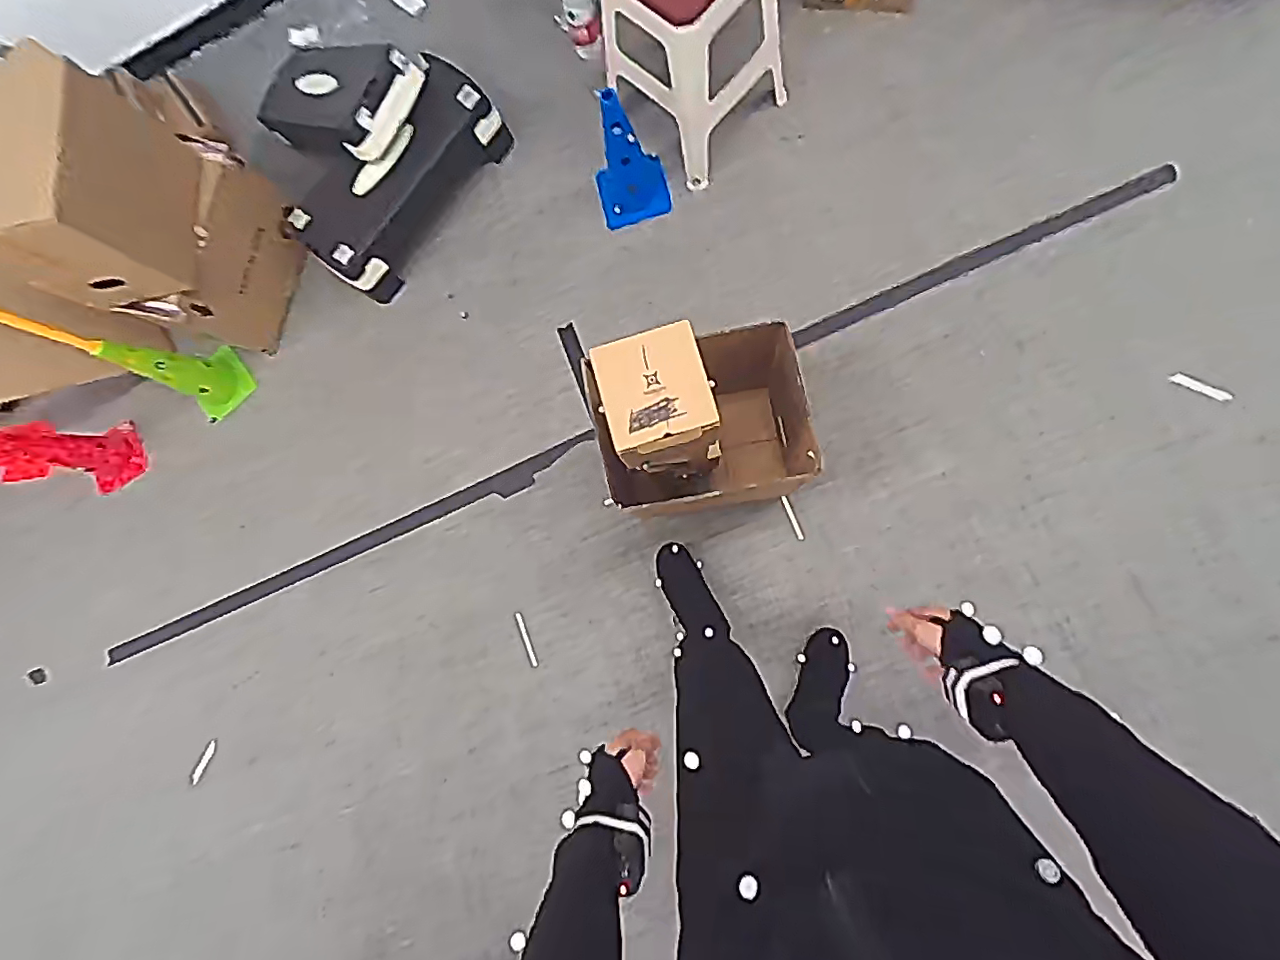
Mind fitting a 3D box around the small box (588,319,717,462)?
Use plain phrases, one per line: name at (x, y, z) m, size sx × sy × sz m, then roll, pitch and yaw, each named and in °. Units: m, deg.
small box at (0.026, -0.135, 0.898) m, size 0.168 × 0.176 × 0.179 m, roll -16°, pitch 81°, yaw 3°
